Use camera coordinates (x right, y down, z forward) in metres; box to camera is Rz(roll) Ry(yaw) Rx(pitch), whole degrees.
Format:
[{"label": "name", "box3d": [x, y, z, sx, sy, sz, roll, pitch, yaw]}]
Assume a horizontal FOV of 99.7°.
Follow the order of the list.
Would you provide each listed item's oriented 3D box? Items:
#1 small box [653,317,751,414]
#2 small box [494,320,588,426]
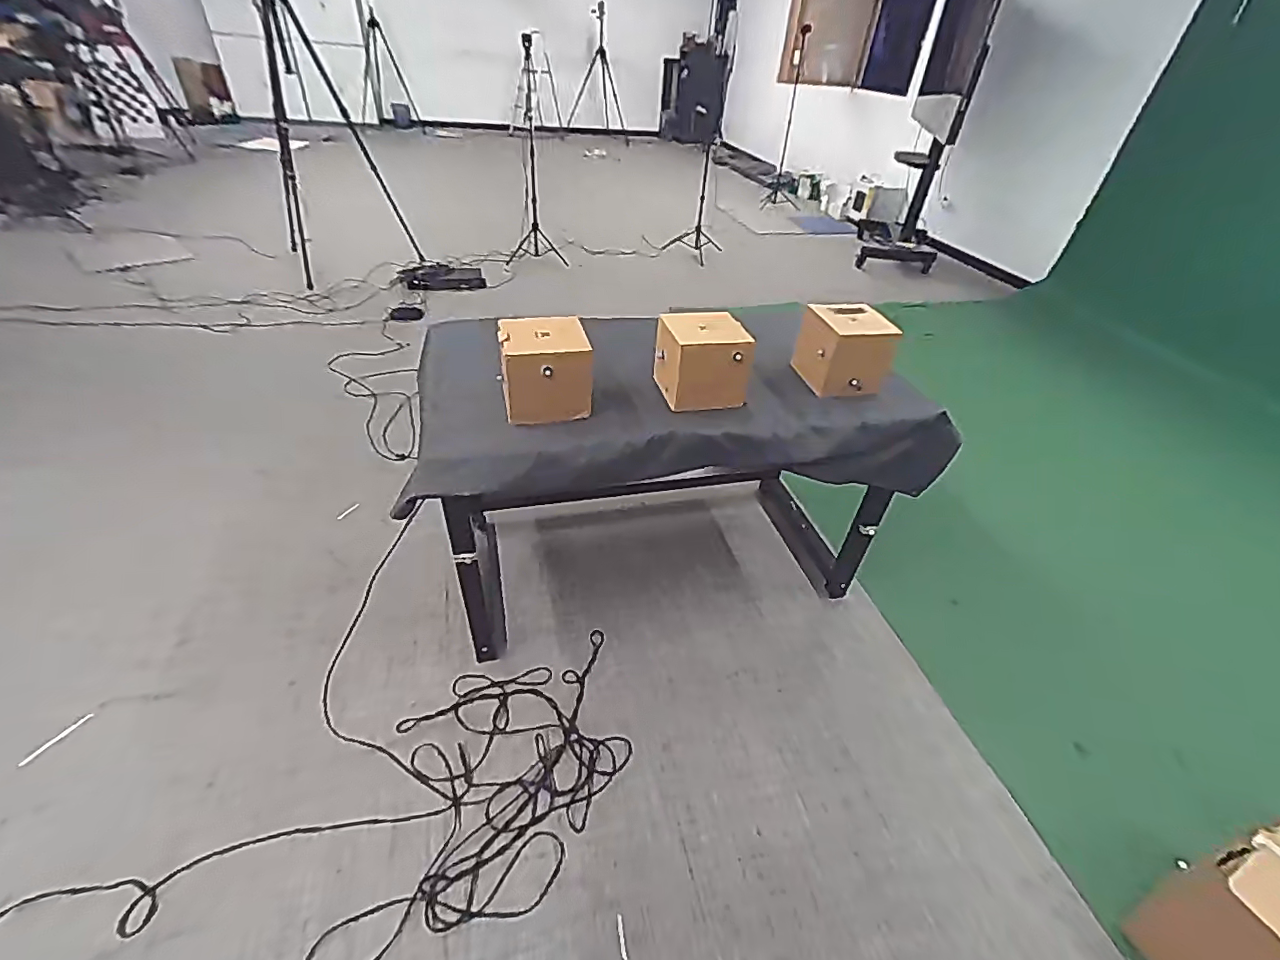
[{"label": "small box", "box3d": [0.132, -0.264, 1.252, 0.179, 0.176, 0.168, -6, 40, -15]}, {"label": "small box", "box3d": [-0.212, -0.229, 1.162, 0.179, 0.176, 0.168, -6, 41, -16]}]
